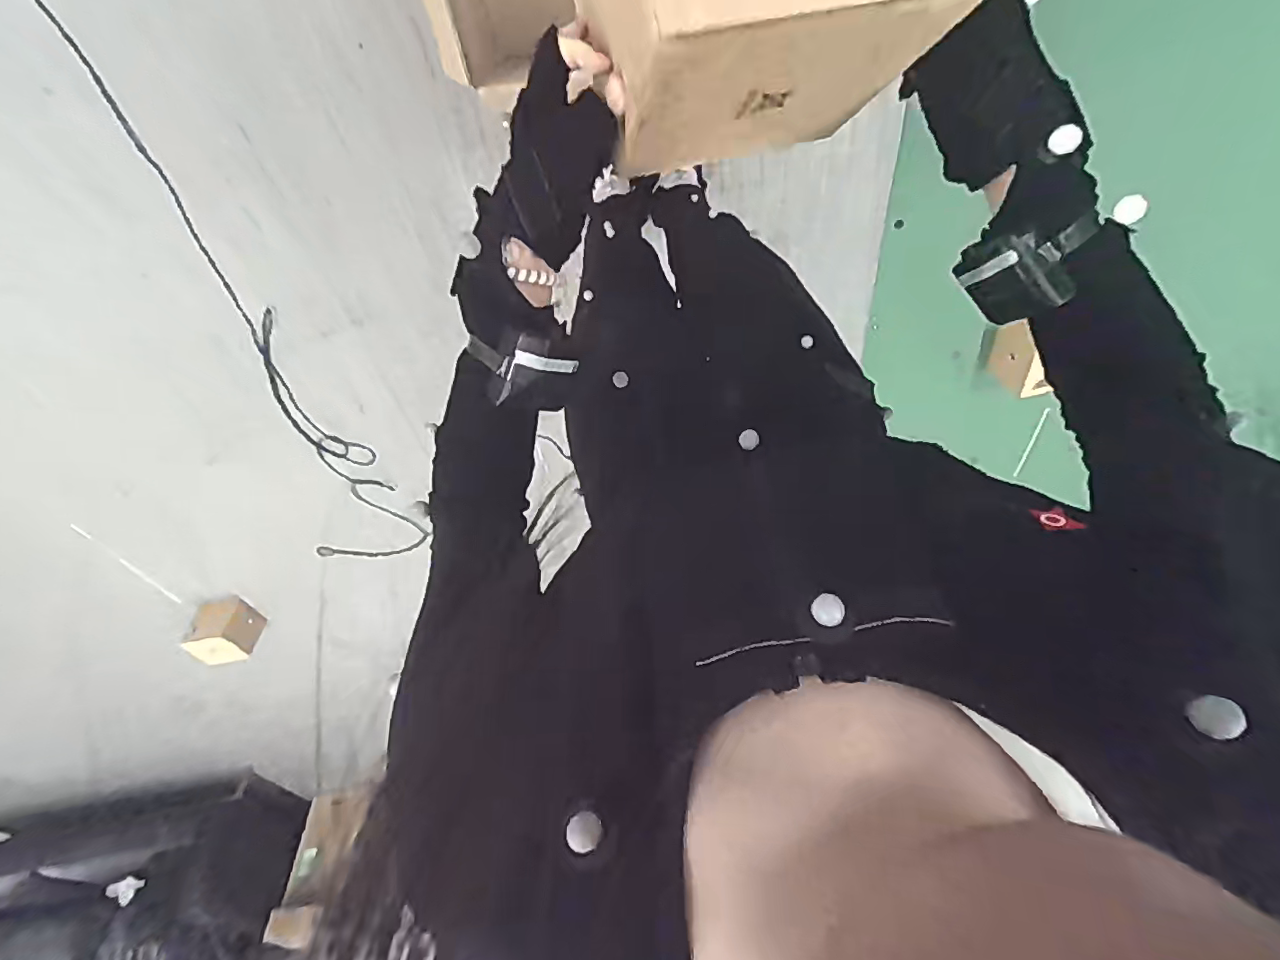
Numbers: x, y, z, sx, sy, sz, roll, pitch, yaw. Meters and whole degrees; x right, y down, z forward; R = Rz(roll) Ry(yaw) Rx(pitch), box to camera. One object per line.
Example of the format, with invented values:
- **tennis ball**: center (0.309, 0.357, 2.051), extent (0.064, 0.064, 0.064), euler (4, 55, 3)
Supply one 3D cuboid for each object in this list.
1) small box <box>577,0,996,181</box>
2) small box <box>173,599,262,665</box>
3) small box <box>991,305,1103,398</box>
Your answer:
- **small box**: center (0.060, -0.302, 0.306), extent (0.179, 0.168, 0.176), euler (-15, 103, -5)
- **small box**: center (-1.593, 0.577, 2.053), extent (0.179, 0.176, 0.168), euler (-11, 134, 3)
- **small box**: center (1.111, -0.356, 1.496), extent (0.168, 0.176, 0.179), euler (-12, 133, 4)
